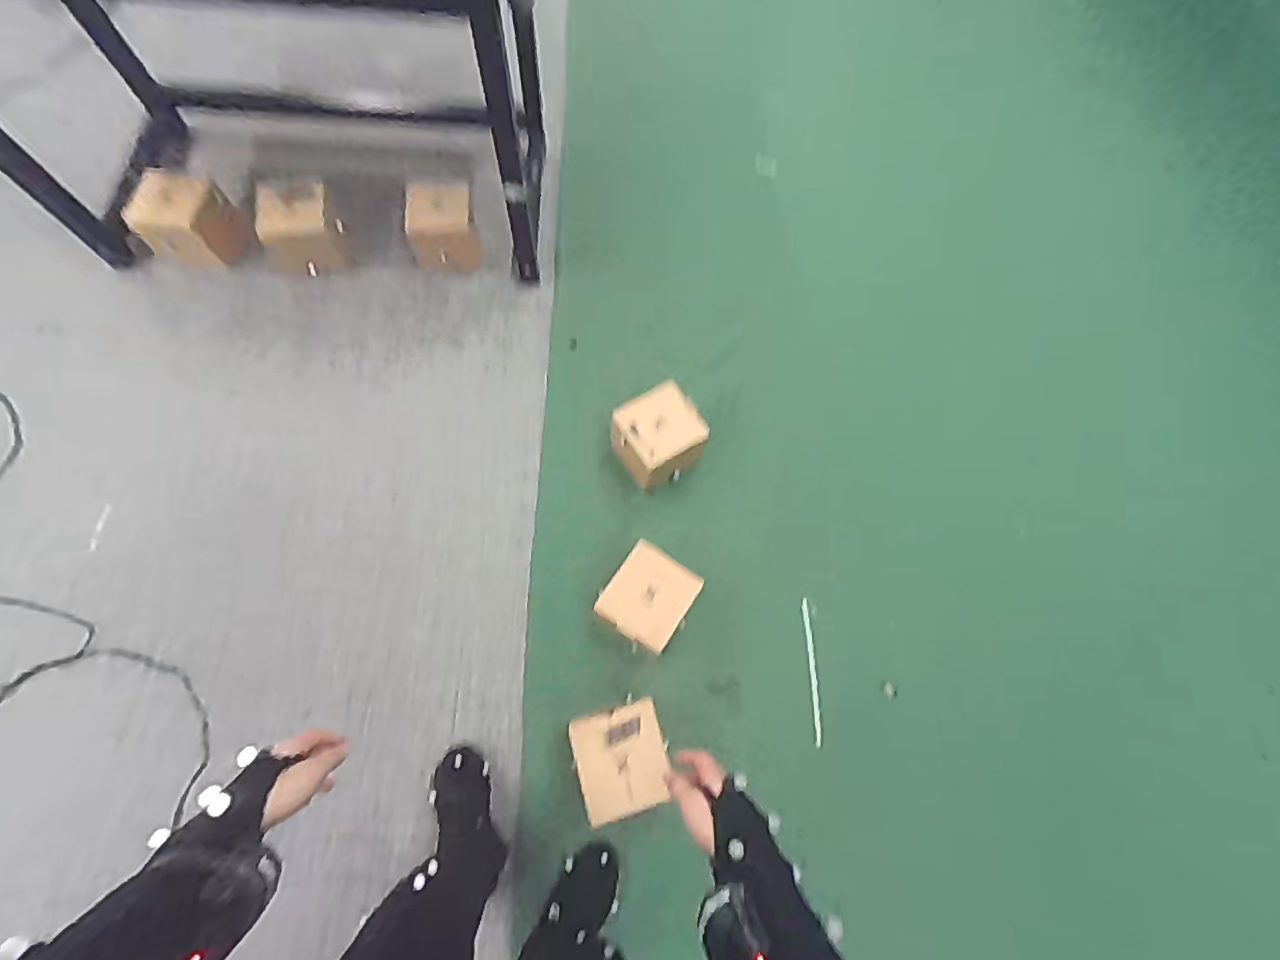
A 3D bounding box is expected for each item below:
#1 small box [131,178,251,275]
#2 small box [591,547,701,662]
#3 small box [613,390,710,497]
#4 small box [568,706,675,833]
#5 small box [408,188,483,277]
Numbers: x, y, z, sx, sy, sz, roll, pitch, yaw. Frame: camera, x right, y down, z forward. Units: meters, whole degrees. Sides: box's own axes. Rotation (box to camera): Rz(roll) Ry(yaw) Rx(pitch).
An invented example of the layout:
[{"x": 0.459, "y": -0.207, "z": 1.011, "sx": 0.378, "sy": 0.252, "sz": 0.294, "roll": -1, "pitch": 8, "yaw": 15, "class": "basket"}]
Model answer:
[{"x": -1.223, "y": -0.692, "z": 1.490, "sx": 0.168, "sy": 0.176, "sz": 0.179, "roll": 5, "pitch": 67, "yaw": -2, "class": "small box"}, {"x": 0.010, "y": 0.280, "z": 1.186, "sx": 0.168, "sy": 0.176, "sz": 0.179, "roll": 34, "pitch": 69, "yaw": 9, "class": "small box"}, {"x": 0.044, "y": -0.085, "z": 1.338, "sx": 0.179, "sy": 0.176, "sz": 0.168, "roll": -29, "pitch": 73, "yaw": -16, "class": "small box"}, {"x": -0.043, "y": 0.559, "z": 1.069, "sx": 0.168, "sy": 0.176, "sz": 0.179, "roll": -14, "pitch": 71, "yaw": -9, "class": "small box"}, {"x": -0.545, "y": -0.697, "z": 1.538, "sx": 0.168, "sy": 0.176, "sz": 0.179, "roll": -3, "pitch": 68, "yaw": -6, "class": "small box"}]
